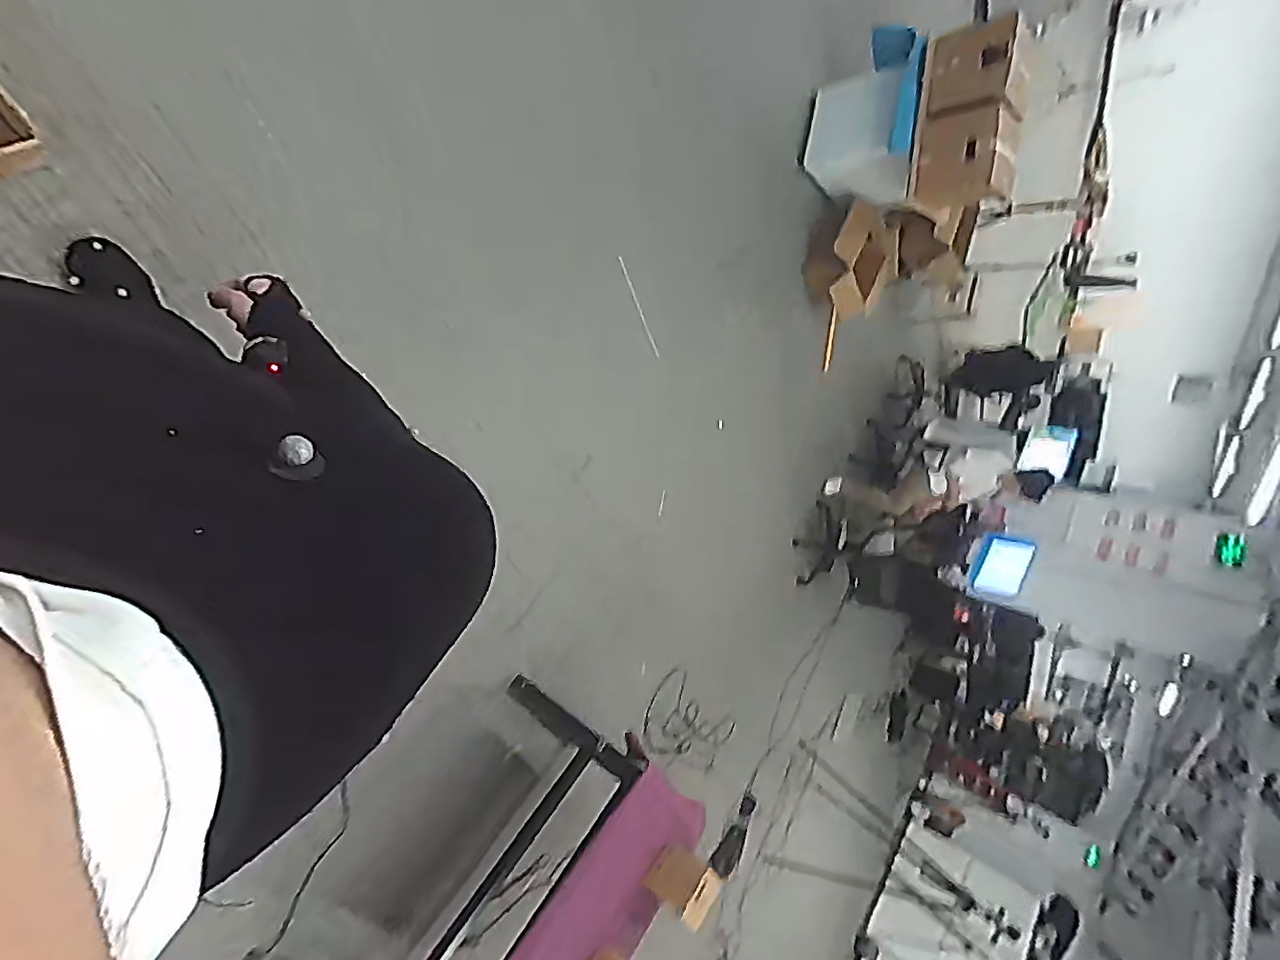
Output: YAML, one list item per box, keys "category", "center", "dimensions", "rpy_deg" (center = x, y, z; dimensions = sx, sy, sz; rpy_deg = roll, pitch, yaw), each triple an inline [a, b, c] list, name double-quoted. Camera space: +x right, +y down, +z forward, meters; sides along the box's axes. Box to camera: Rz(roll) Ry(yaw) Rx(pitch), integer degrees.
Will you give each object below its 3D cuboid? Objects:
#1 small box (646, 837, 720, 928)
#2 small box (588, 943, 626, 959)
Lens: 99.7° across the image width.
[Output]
- category: "small box"
  center: [0.145, 1.379, 1.864]
  dimensions: [0.168, 0.176, 0.179]
  rpy_deg: [-45, 130, -28]
- category: "small box"
  center: [-0.089, 1.595, 1.680]
  dimensions: [0.168, 0.176, 0.179]
  rpy_deg: [-48, 131, -28]
